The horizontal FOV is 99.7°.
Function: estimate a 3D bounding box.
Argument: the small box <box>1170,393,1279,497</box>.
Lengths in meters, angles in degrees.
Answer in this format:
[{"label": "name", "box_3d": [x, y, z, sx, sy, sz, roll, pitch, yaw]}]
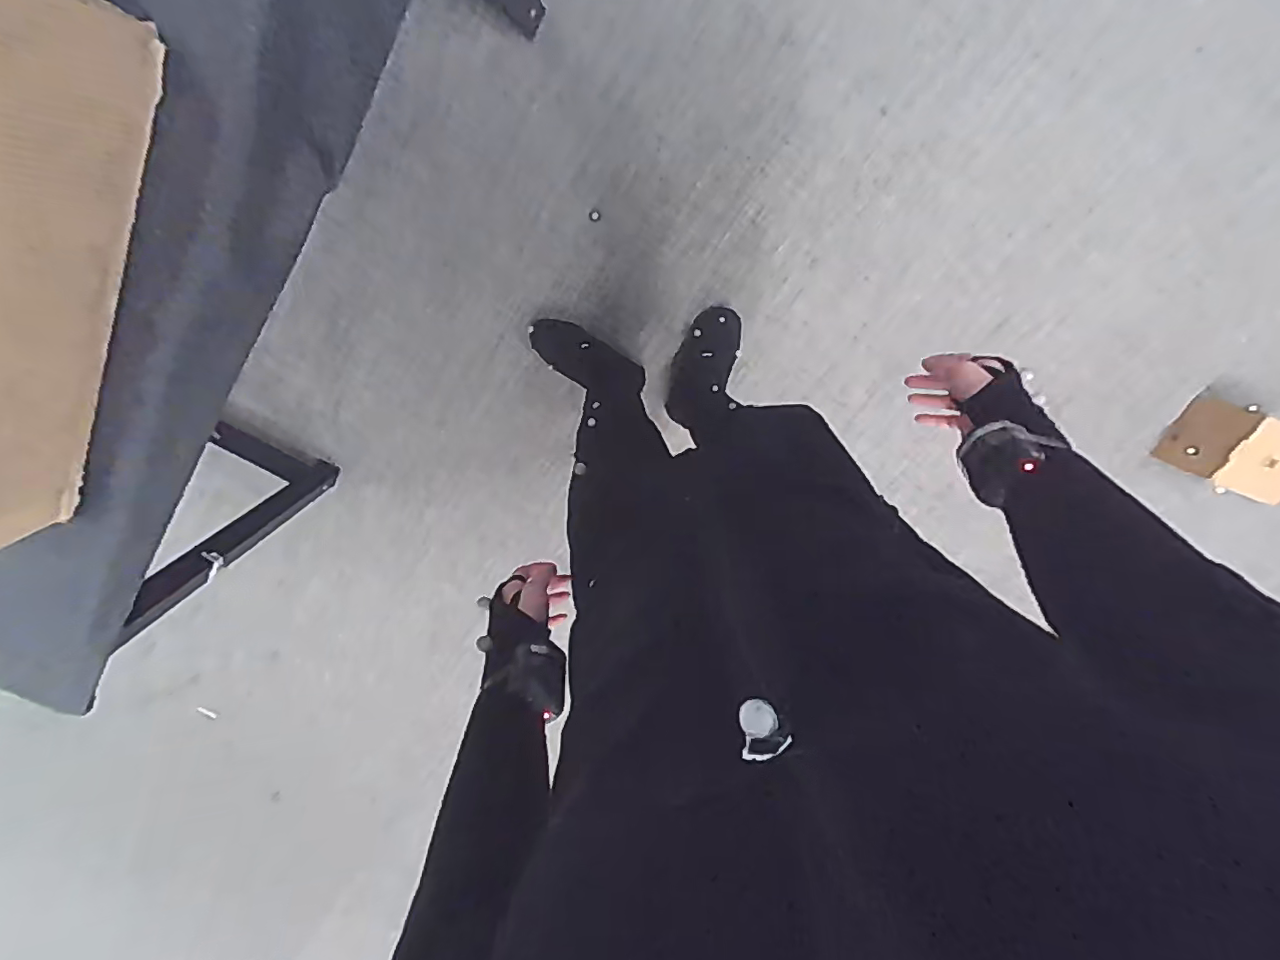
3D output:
[{"label": "small box", "box_3d": [1.376, -0.082, 1.214, 0.179, 0.176, 0.168, 17, 114, -6]}]
